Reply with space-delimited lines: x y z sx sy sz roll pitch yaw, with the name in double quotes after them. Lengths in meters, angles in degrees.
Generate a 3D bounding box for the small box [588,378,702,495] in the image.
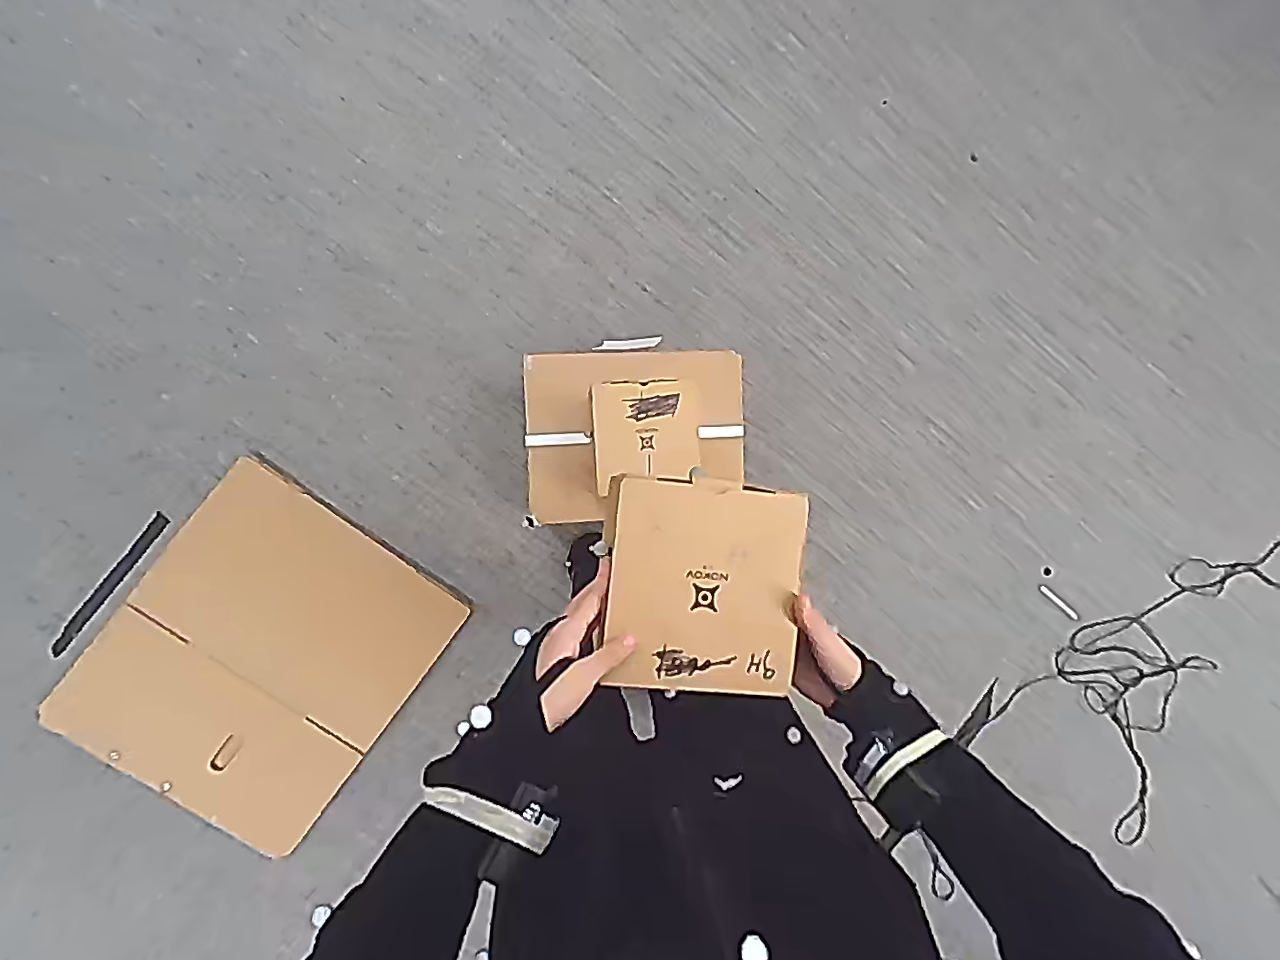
0.001 -0.068 0.911 0.168 0.176 0.179 -4 92 -7 "small box"

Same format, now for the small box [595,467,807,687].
0.046 0.084 0.534 0.168 0.176 0.179 6 89 -7 "small box"
